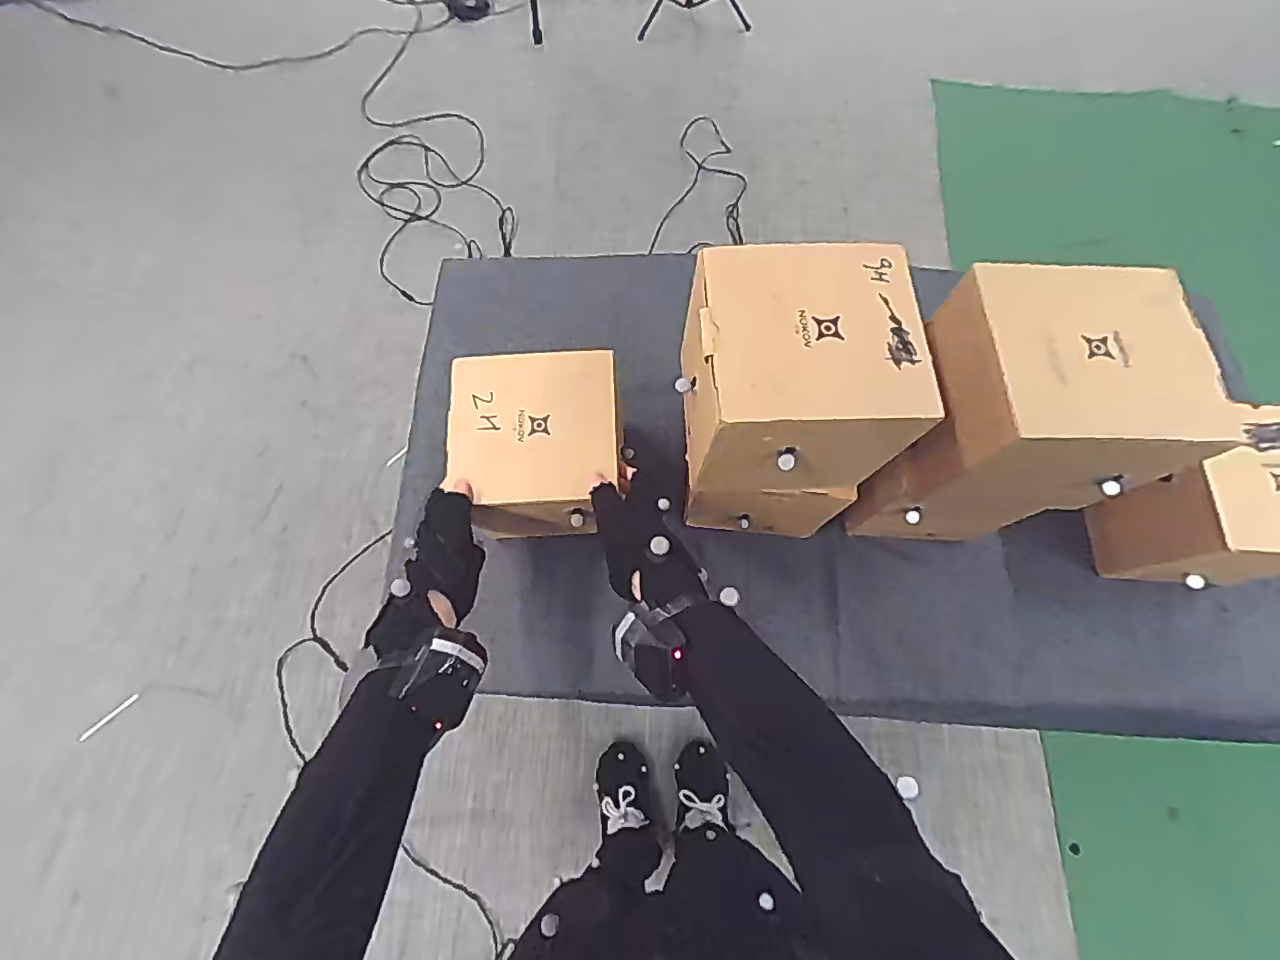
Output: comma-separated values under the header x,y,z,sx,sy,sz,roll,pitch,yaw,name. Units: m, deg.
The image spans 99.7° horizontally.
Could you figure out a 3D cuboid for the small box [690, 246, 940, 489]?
x,y,z,sx,sy,sz,roll,pitch,yaw,name
0.140,-0.094,0.512,0.179,0.176,0.168,-2,71,-1,small box
